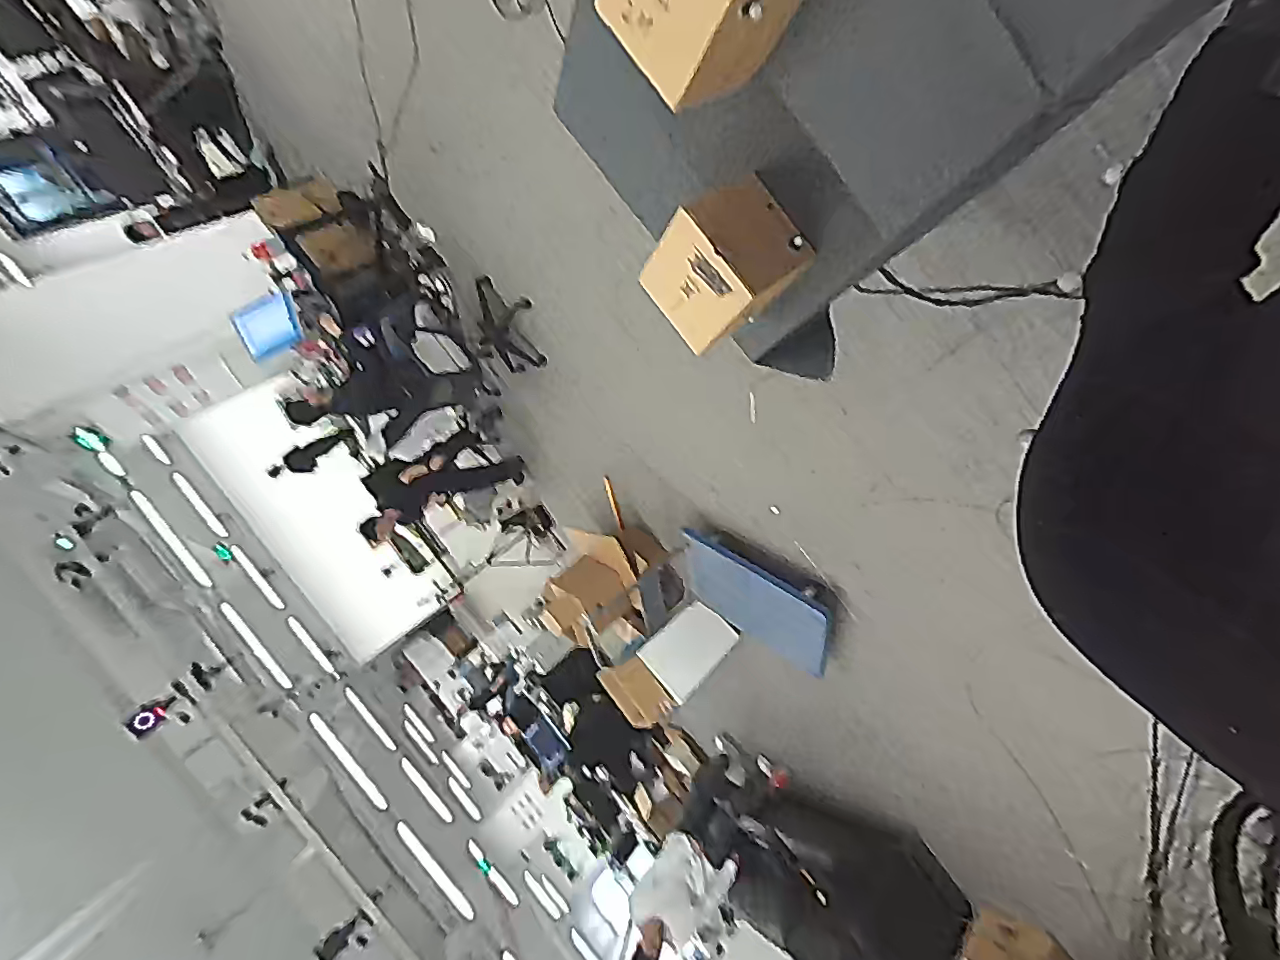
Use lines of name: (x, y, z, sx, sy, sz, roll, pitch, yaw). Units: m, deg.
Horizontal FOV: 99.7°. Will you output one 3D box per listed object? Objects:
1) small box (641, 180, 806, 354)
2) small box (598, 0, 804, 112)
small box: (0.139, -0.342, 0.870, 0.168, 0.176, 0.179, 52, 153, 0)
small box: (0.085, -0.597, 0.644, 0.168, 0.176, 0.179, 52, 152, -3)
